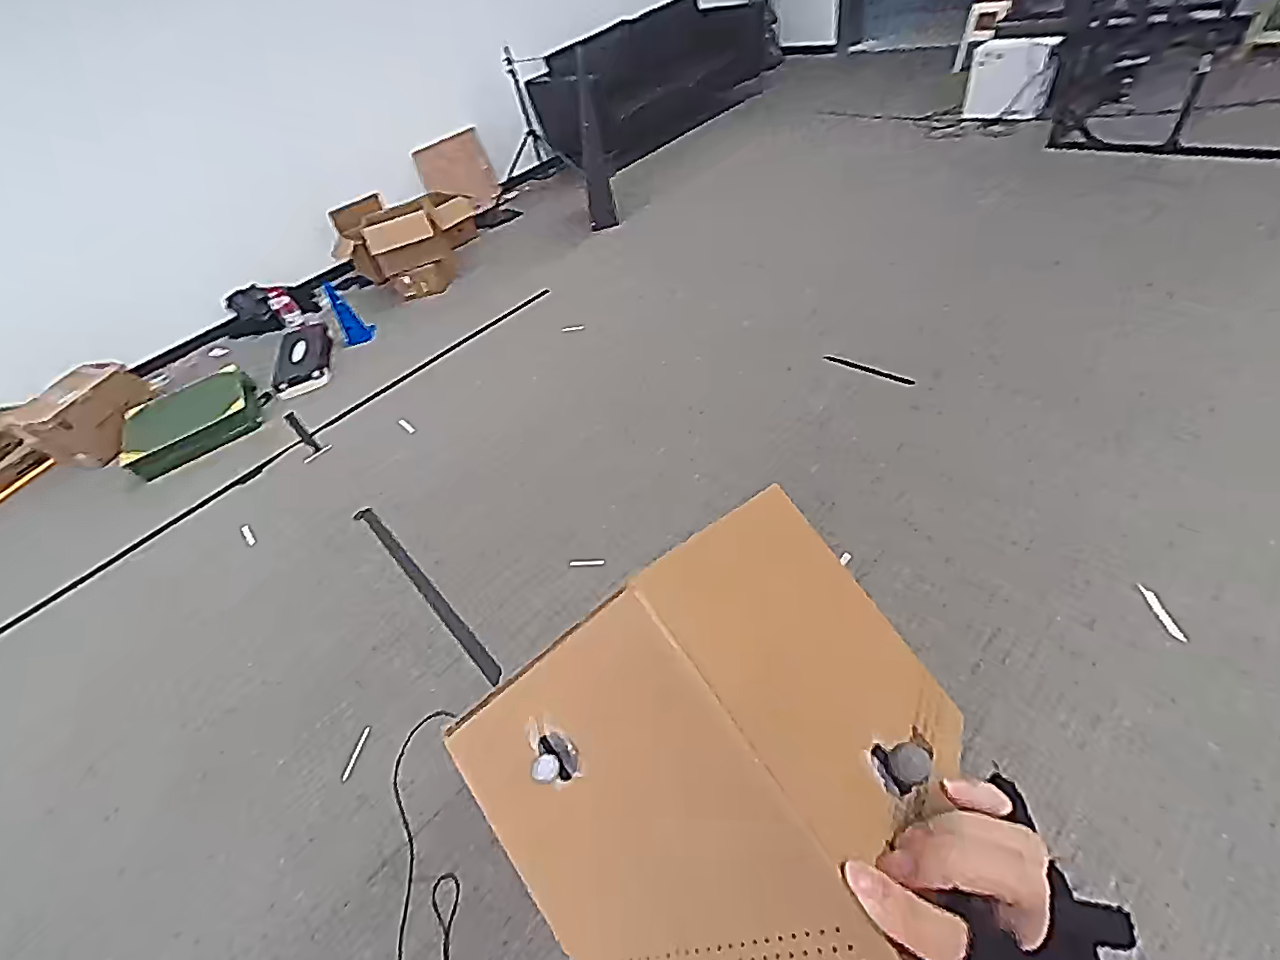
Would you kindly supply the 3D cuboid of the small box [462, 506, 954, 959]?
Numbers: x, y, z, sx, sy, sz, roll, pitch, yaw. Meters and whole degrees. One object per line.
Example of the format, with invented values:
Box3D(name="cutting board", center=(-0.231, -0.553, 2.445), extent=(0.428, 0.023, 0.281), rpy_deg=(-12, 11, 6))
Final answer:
Box3D(name="small box", center=(0.039, 0.147, 0.309), extent=(0.176, 0.179, 0.168), rpy_deg=(52, 34, 10))
